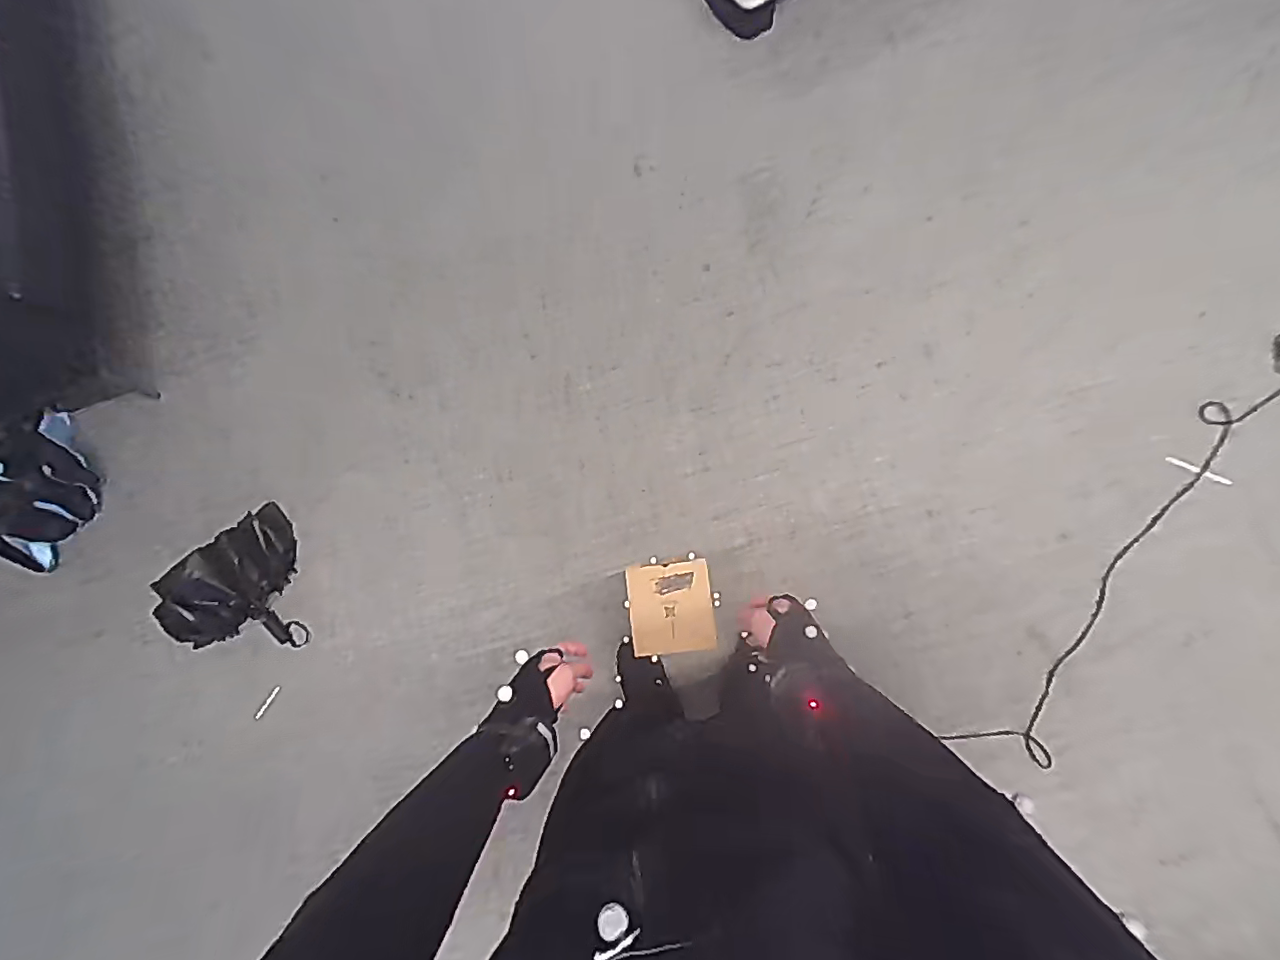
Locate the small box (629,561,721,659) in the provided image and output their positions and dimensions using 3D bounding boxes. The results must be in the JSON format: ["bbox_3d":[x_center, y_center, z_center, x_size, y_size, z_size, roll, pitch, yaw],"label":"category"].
[{"bbox_3d":[0.076,0.268,1.138,0.168,0.176,0.179,-8,81,7],"label":"small box"}]
